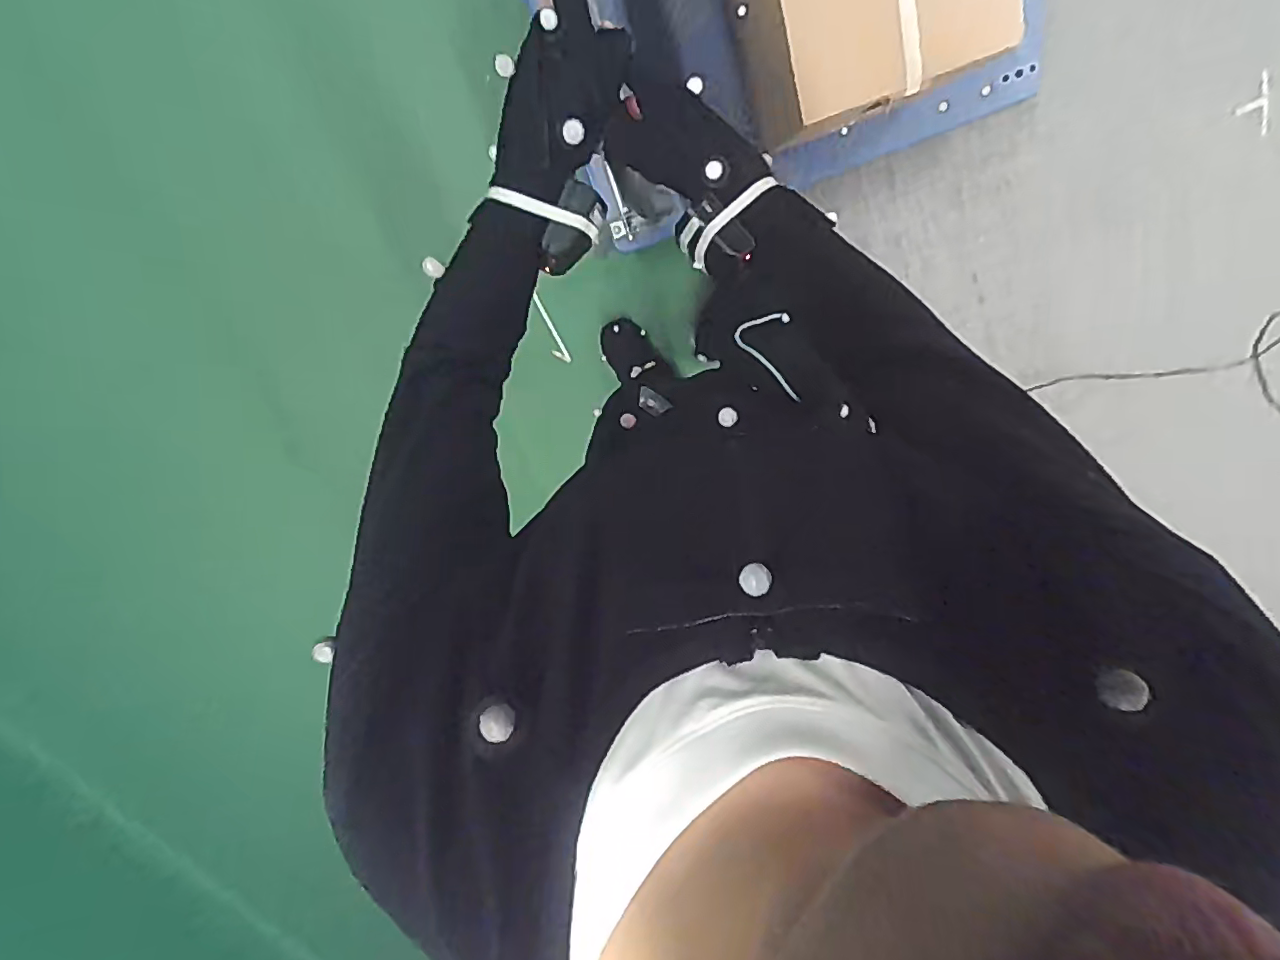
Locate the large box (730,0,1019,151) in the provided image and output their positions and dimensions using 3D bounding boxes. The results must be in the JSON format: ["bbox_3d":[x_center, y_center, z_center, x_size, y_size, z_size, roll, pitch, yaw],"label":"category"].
[{"bbox_3d":[0.318,-0.803,0.834,0.320,0.320,0.408,-17,111,7],"label":"large box"}]
